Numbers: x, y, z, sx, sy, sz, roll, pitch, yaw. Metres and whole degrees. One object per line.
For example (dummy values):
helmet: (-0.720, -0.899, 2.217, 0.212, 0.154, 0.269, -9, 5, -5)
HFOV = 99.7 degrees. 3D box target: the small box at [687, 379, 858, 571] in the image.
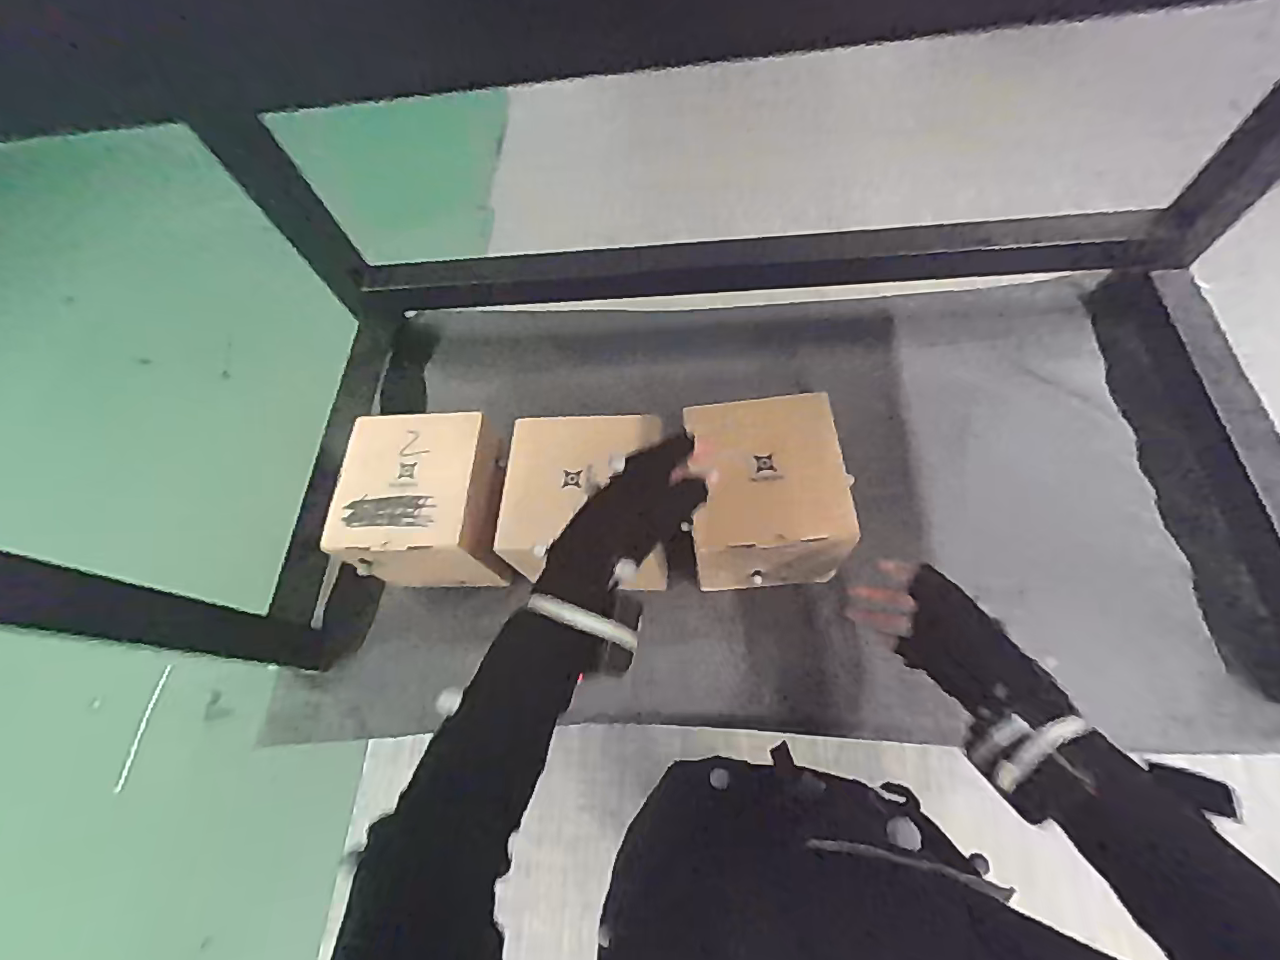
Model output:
small box: (0.147, 0.002, 0.665, 0.168, 0.176, 0.179, -6, 66, 5)
